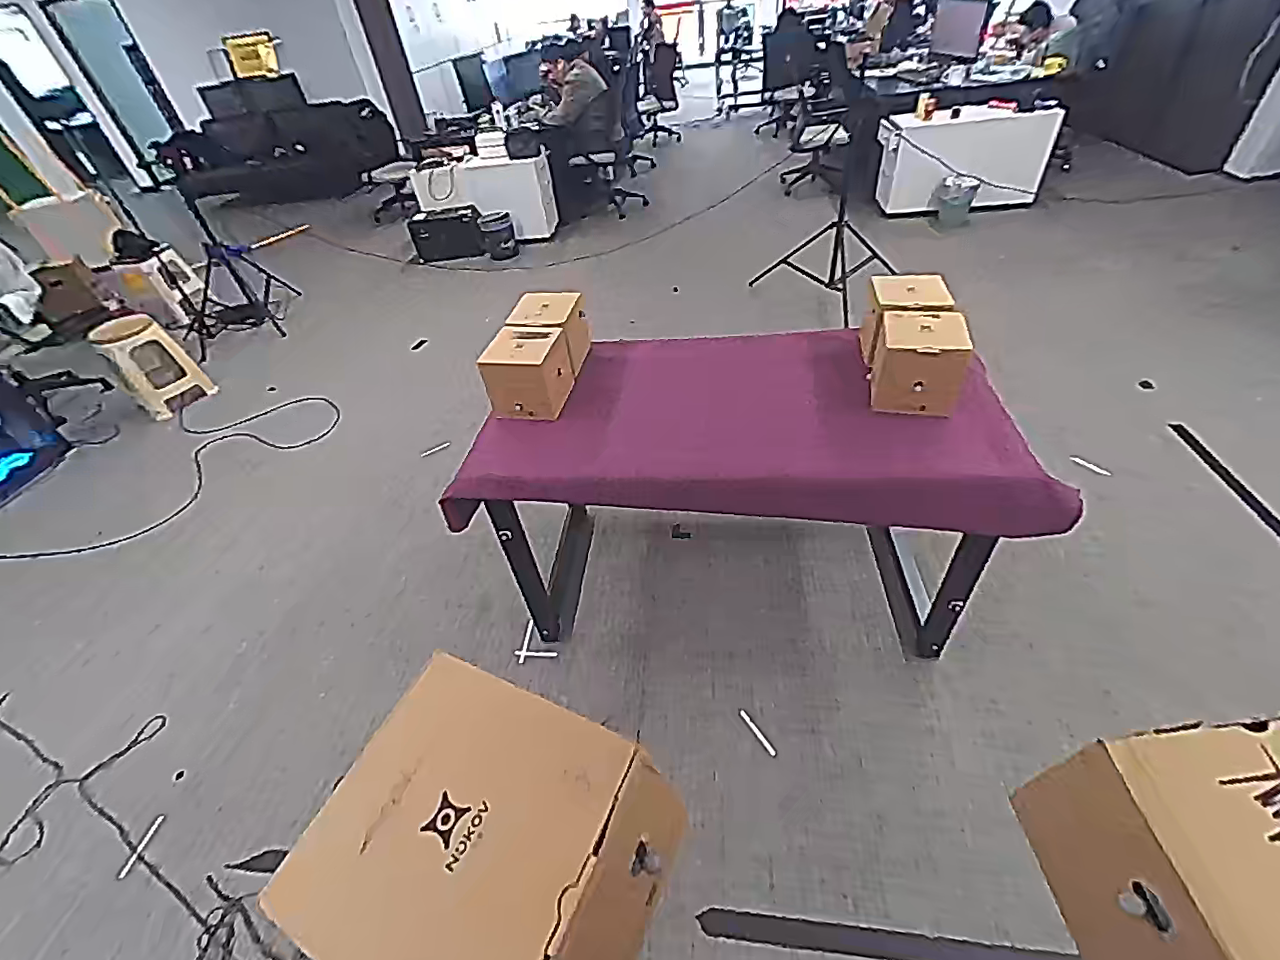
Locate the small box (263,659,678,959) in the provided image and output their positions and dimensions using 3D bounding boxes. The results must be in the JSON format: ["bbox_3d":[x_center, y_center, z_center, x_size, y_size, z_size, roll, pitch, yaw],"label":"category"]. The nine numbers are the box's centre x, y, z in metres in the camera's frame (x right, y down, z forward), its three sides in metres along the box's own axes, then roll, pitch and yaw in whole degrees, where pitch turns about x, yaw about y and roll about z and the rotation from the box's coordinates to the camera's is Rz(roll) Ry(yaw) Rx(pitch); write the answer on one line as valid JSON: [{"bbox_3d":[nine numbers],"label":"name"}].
[{"bbox_3d":[-0.090,0.257,0.370,0.179,0.176,0.168,11,51,28],"label":"small box"}]

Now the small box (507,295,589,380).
[{"bbox_3d":[-0.246,-0.399,1.504,0.168,0.176,0.179,3,44,12],"label":"small box"}]

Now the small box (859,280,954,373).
[{"bbox_3d":[0.662,-0.390,1.366,0.168,0.176,0.179,3,43,11],"label":"small box"}]
